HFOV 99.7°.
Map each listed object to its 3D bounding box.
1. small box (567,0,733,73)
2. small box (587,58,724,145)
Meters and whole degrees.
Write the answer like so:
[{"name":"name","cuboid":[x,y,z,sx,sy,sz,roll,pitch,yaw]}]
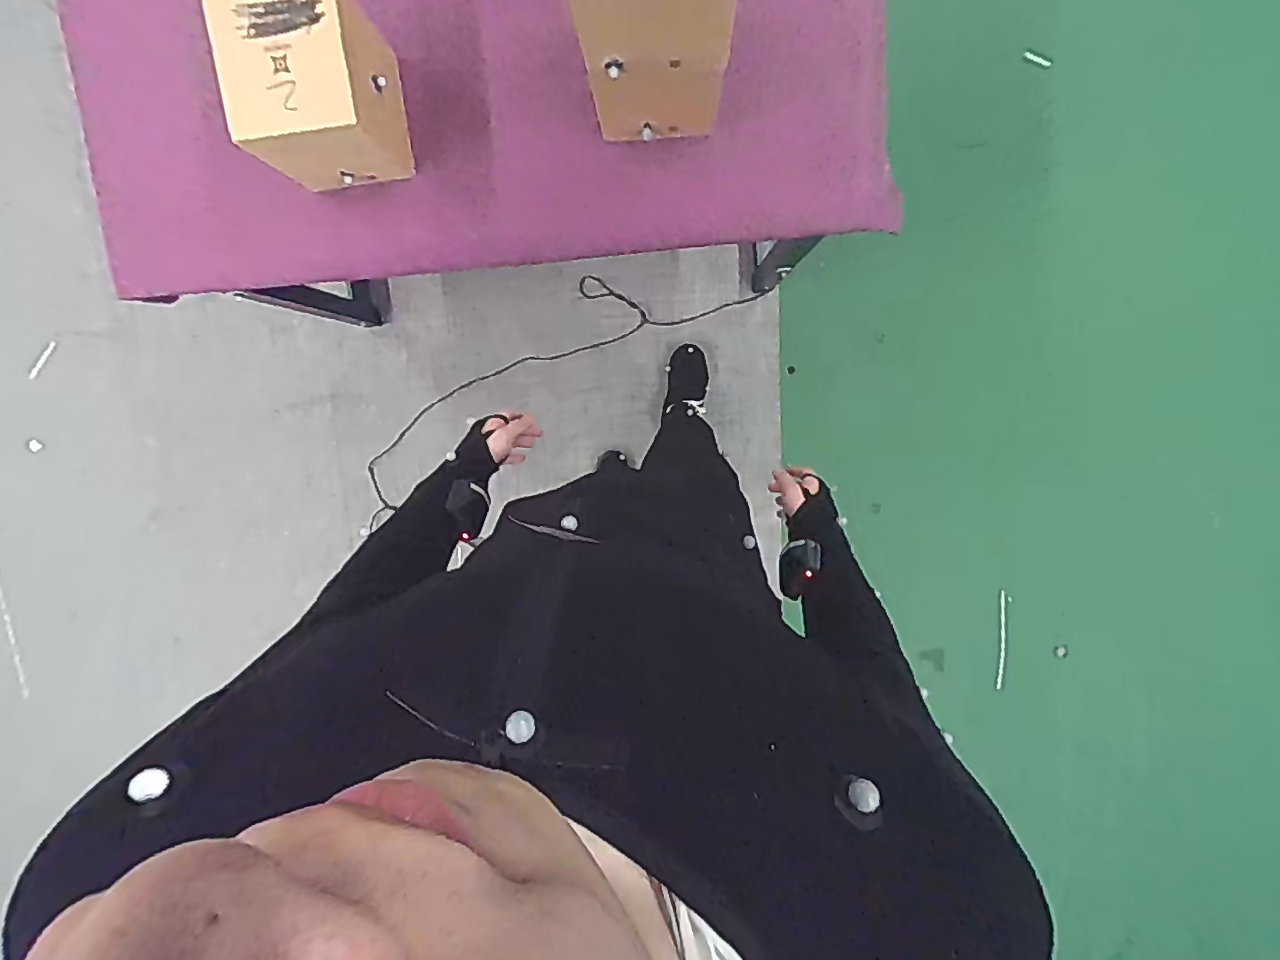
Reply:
[{"name":"small box","cuboid":[0.010,-0.552,0.549,0.168,0.176,0.179,-3,96,4]},{"name":"small box","cuboid":[0.020,-0.578,0.711,0.168,0.176,0.179,-2,97,4]}]
